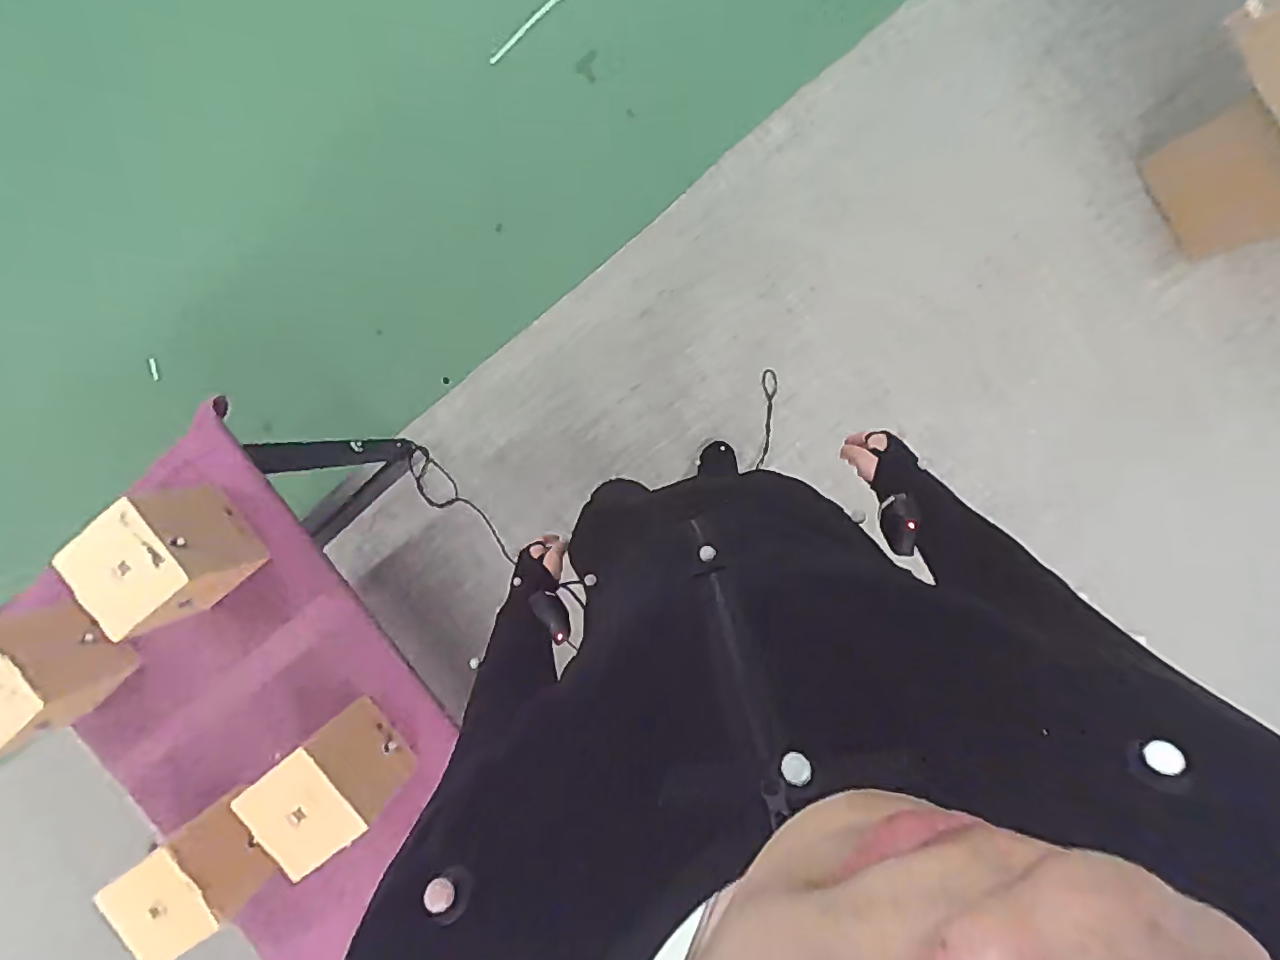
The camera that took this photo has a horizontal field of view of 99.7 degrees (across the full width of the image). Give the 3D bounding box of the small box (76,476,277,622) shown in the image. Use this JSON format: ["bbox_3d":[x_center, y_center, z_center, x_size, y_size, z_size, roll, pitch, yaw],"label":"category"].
[{"bbox_3d":[-0.793,0.111,0.944,0.179,0.176,0.168,-37,92,10],"label":"small box"}]

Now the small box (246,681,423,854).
[{"bbox_3d":[-0.525,0.496,0.955,0.179,0.176,0.168,-38,91,11],"label":"small box"}]

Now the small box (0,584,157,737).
[{"bbox_3d":[-1.071,0.324,1.003,0.179,0.176,0.168,-39,93,9],"label":"small box"}]

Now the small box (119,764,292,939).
[{"bbox_3d":[-0.788,0.682,1.010,0.179,0.176,0.168,-36,90,8],"label":"small box"}]
